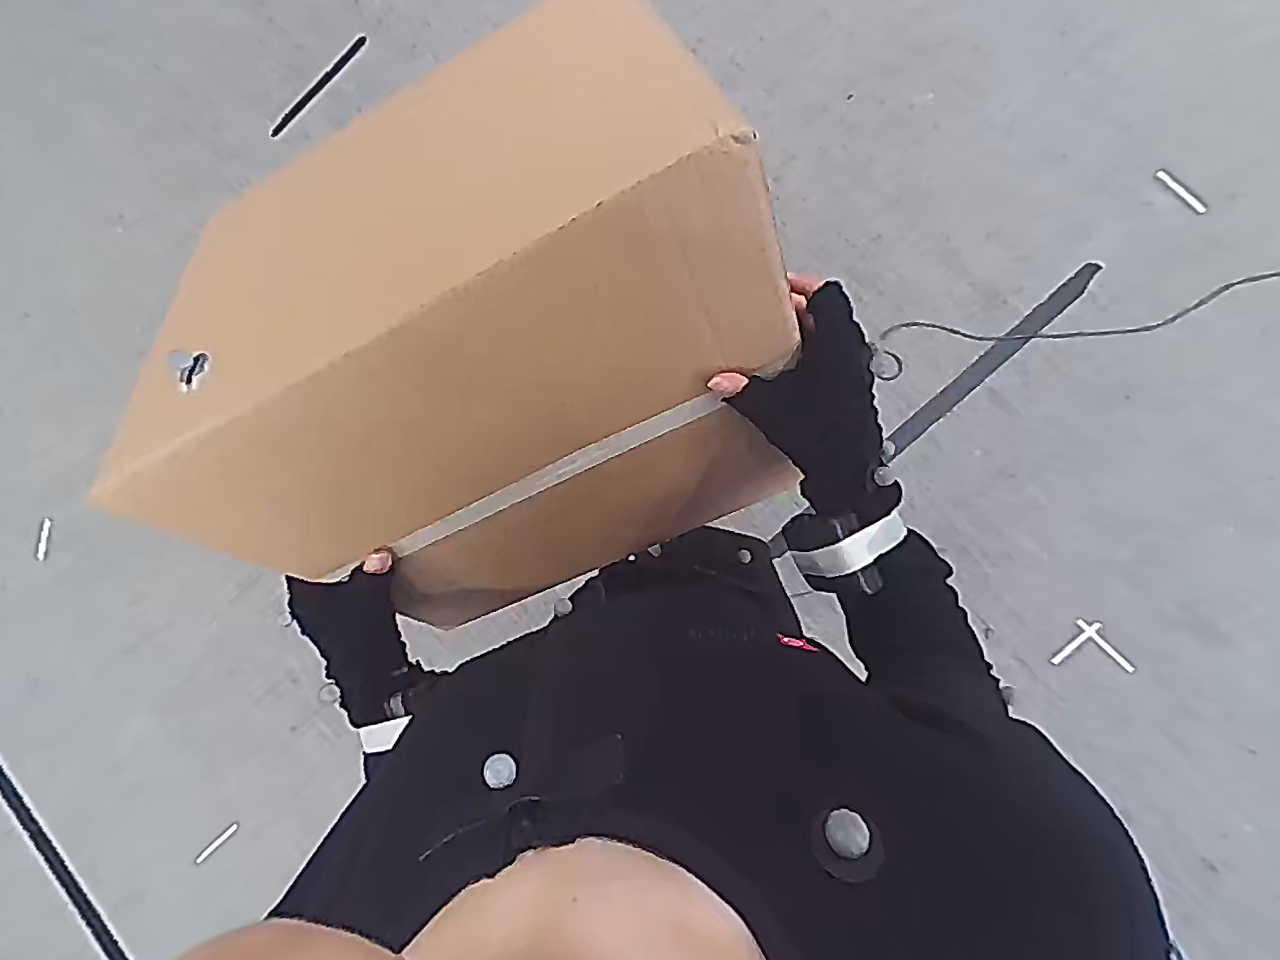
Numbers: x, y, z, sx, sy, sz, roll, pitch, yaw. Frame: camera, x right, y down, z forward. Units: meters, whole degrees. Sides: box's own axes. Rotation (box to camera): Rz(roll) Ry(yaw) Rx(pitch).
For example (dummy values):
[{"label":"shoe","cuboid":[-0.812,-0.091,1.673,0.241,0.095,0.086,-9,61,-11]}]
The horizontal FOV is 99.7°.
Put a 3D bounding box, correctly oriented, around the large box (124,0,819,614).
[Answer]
[{"label":"large box","cuboid":[-0.109,-0.129,0.484,0.408,0.320,0.320,-24,55,11]}]
